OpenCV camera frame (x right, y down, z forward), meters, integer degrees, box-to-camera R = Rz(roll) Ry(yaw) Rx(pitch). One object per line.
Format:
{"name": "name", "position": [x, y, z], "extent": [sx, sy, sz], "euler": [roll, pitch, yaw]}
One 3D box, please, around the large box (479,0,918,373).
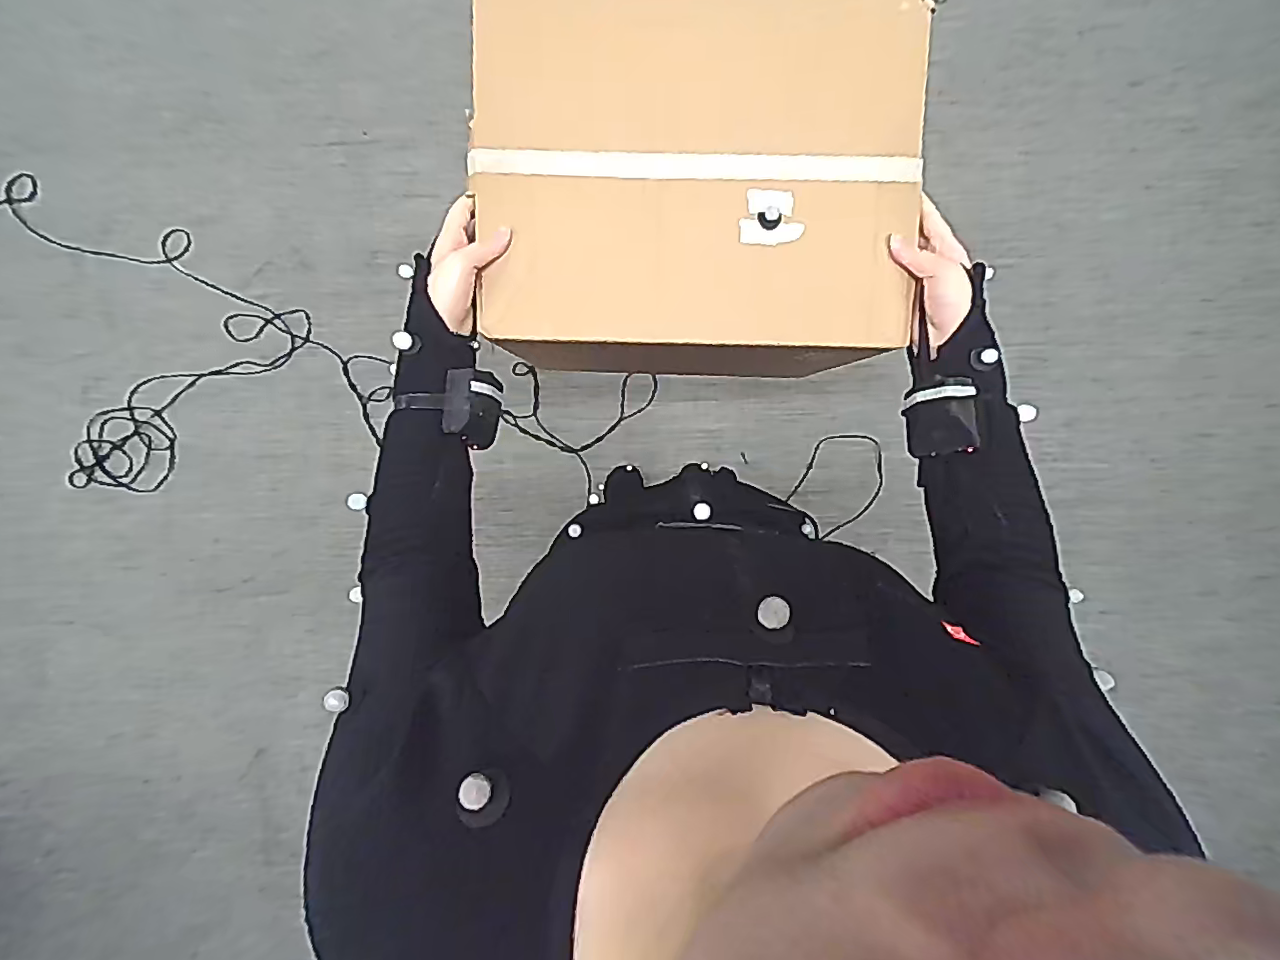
{"name": "large box", "position": [0.049, -0.300, 0.646], "extent": [0.408, 0.320, 0.320], "euler": [1, 96, -2]}
